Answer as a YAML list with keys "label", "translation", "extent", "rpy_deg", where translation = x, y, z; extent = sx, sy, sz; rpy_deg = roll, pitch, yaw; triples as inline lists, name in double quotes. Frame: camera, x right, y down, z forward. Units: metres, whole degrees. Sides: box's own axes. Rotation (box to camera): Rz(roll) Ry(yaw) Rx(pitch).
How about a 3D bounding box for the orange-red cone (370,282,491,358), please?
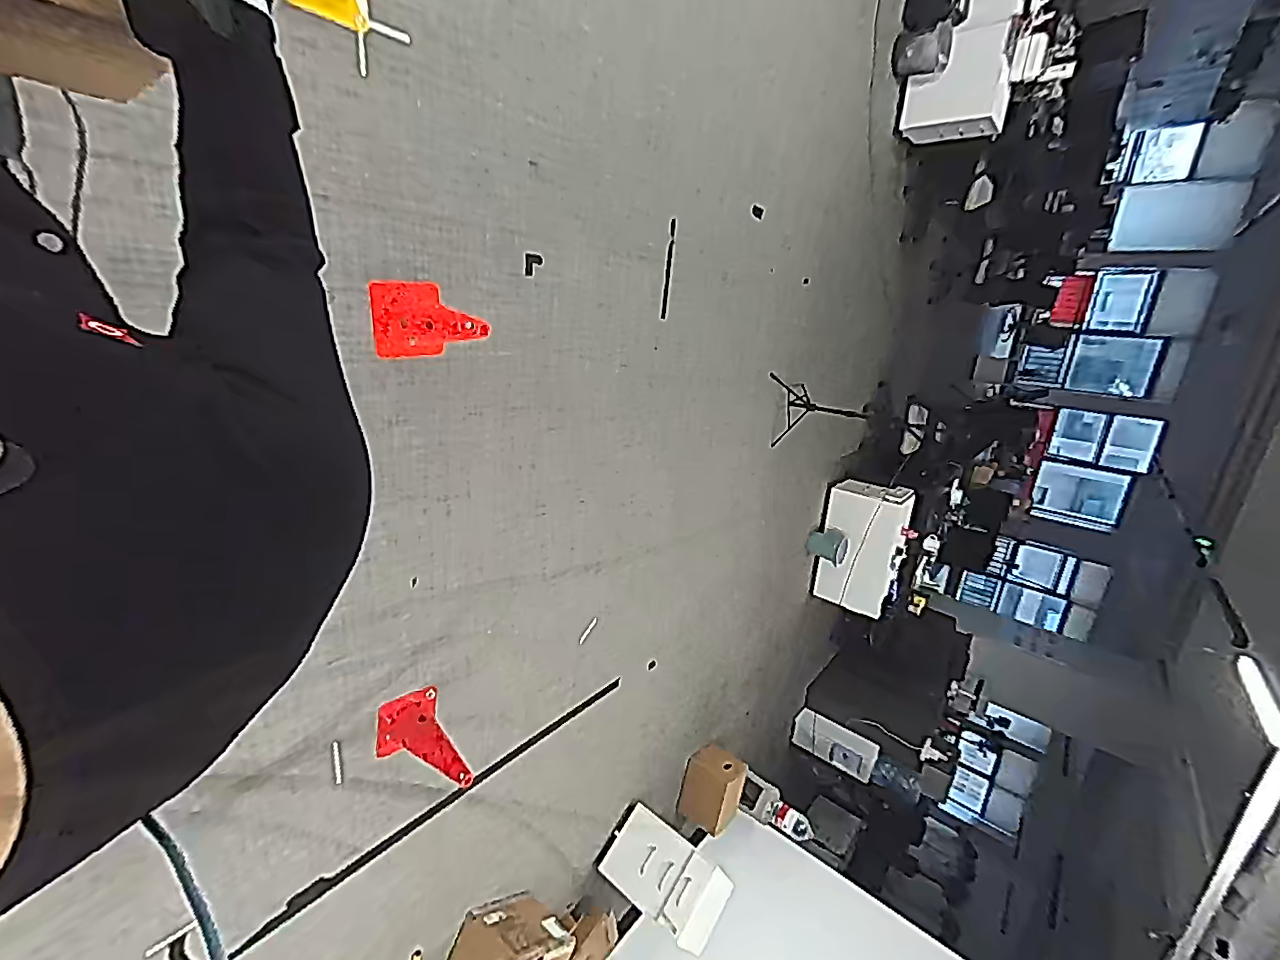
- label: "orange-red cone"
  translation: [-0.505, -0.399, 1.382]
  extent: [0.198, 0.360, 0.199]
  rpy_deg: [-19, 117, -48]

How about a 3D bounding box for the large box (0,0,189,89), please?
- label: "large box"
  translation: [-0.550, -0.475, 0.287]
  extent: [0.408, 0.320, 0.320]
  rpy_deg: [-14, 118, -48]

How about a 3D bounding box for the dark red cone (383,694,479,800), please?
- label: "dark red cone"
  translation: [-0.627, 0.860, 1.687]
  extent: [0.201, 0.394, 0.202]
  rpy_deg: [-7, 109, -50]
